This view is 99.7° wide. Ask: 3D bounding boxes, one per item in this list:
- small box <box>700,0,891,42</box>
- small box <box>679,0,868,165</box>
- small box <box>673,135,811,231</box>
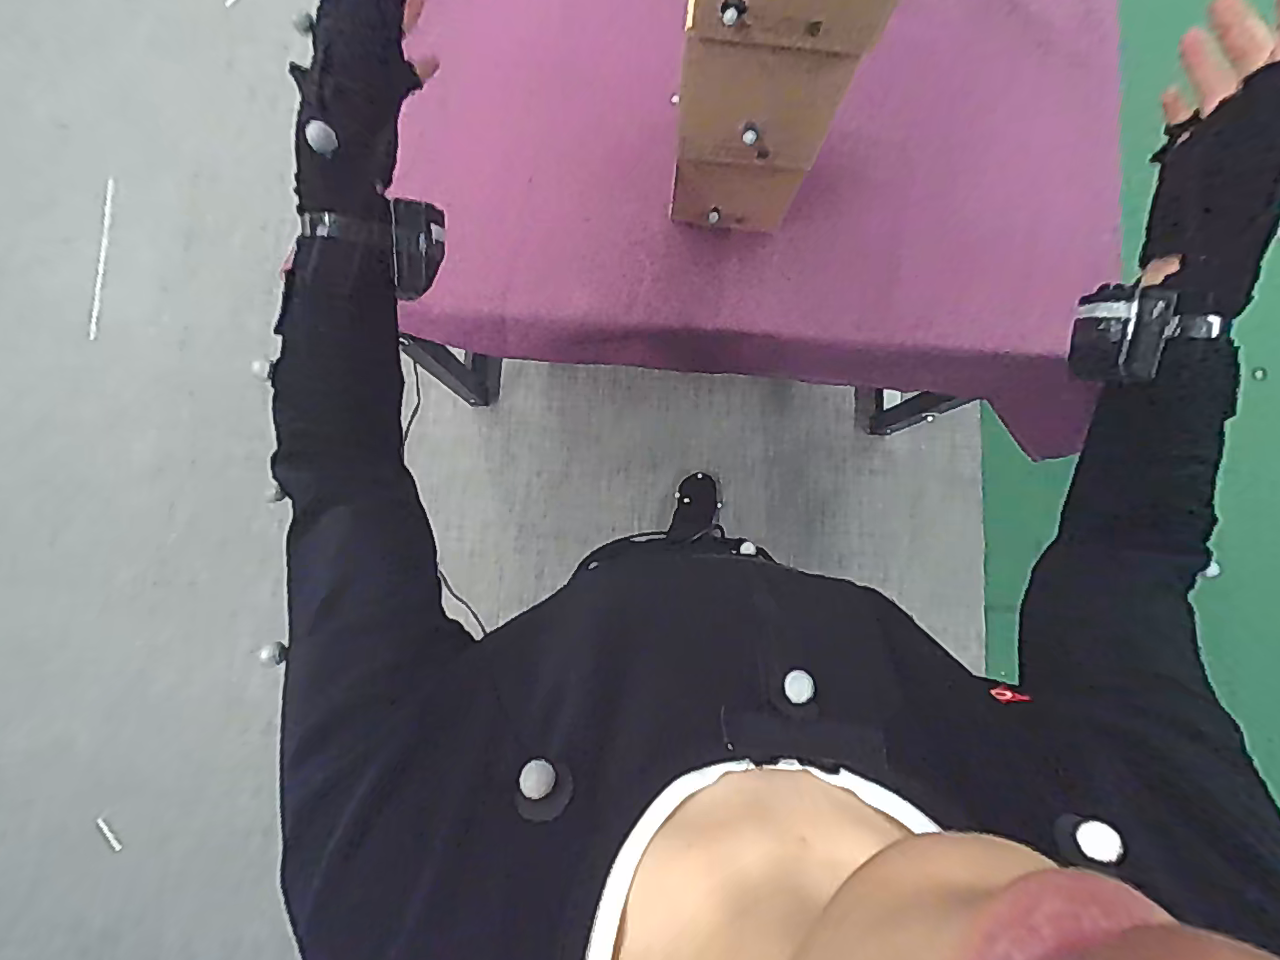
[{"bbox_3d":[0.139,-0.487,0.413,0.168,0.176,0.179,7,83,0],"label":"small box"},{"bbox_3d":[0.134,-0.479,0.577,0.168,0.176,0.179,6,84,1],"label":"small box"},{"bbox_3d":[0.139,-0.477,0.741,0.168,0.176,0.179,8,84,1],"label":"small box"}]
